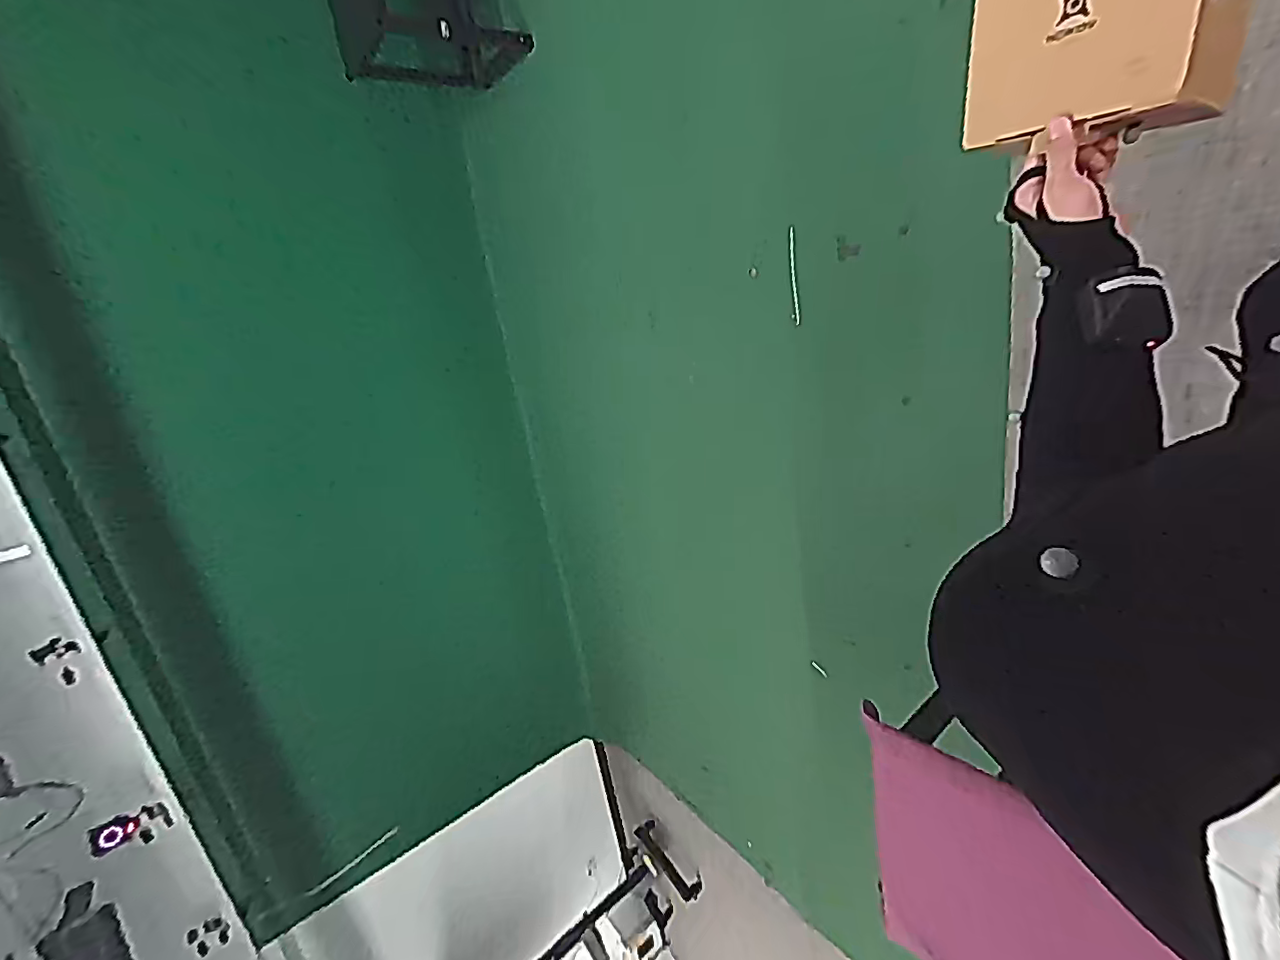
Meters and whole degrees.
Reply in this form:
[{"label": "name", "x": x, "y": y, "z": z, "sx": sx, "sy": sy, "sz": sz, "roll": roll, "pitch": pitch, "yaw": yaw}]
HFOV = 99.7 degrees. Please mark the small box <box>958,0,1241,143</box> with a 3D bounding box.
[{"label": "small box", "x": 0.429, "y": -0.429, "z": 0.503, "sx": 0.168, "sy": 0.176, "sz": 0.179, "roll": 21, "pitch": 123, "yaw": 50}]
